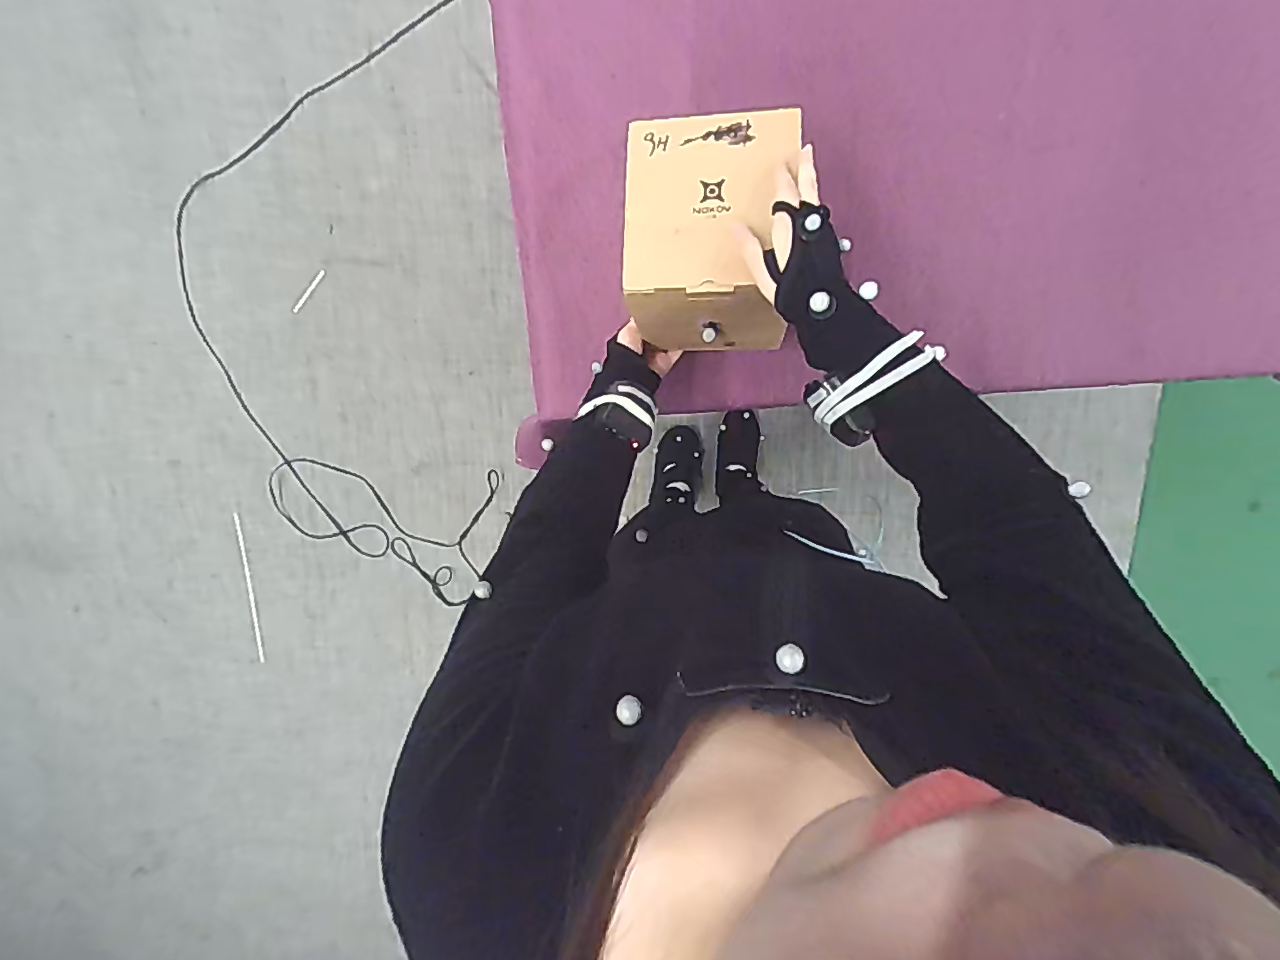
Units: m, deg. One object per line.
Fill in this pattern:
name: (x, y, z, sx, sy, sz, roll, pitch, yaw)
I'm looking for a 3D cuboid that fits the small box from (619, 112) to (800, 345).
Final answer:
small box: (0.076, -0.254, 0.587, 0.168, 0.176, 0.179, 2, 86, 8)
